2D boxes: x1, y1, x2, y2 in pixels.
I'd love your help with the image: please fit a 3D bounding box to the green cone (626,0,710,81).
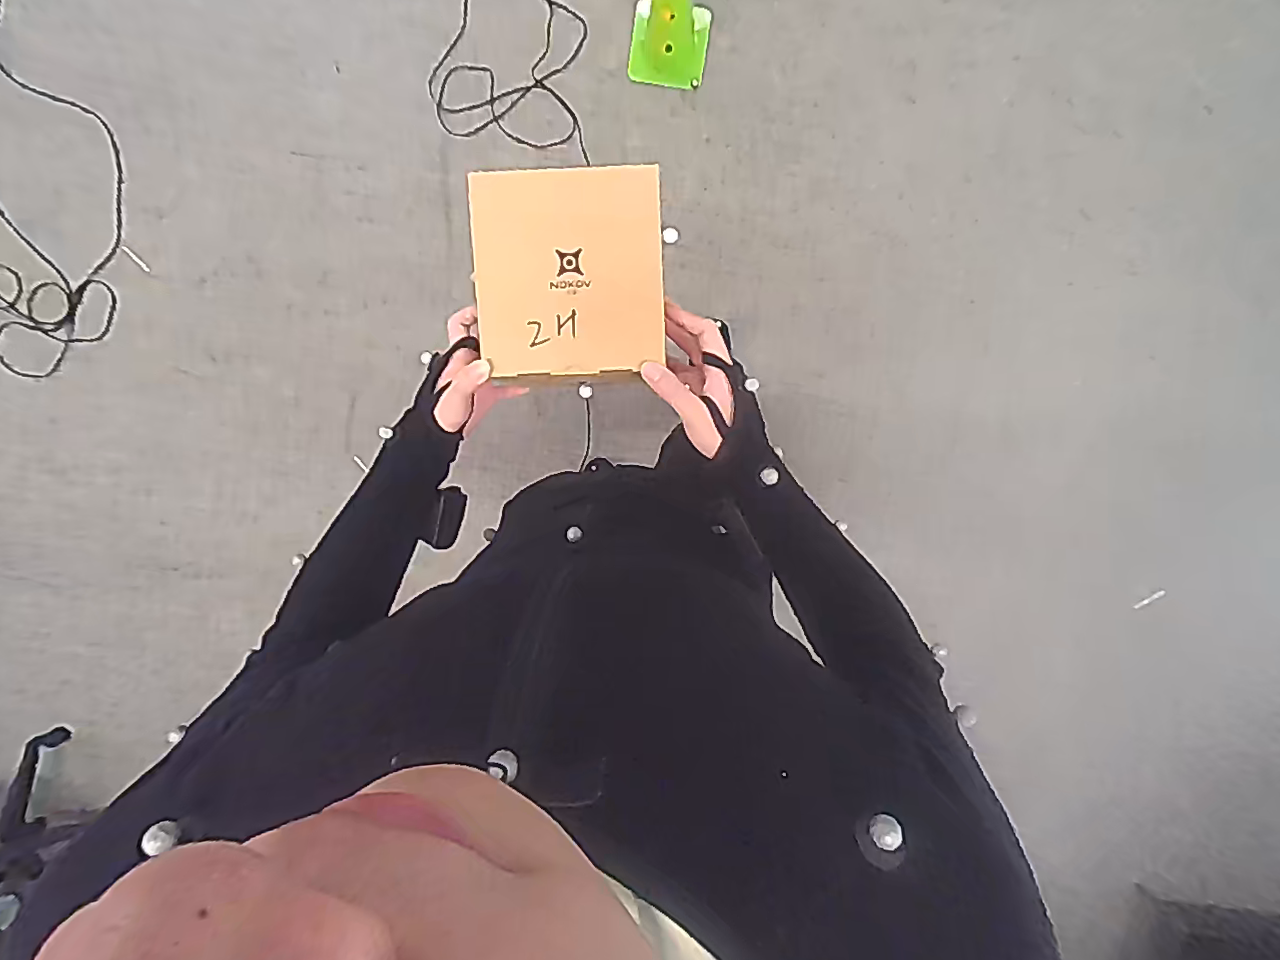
[{"bbox_3d":[0.067,-1.133,1.236,0.202,0.368,0.200,8,98,0],"label":"green cone"}]
